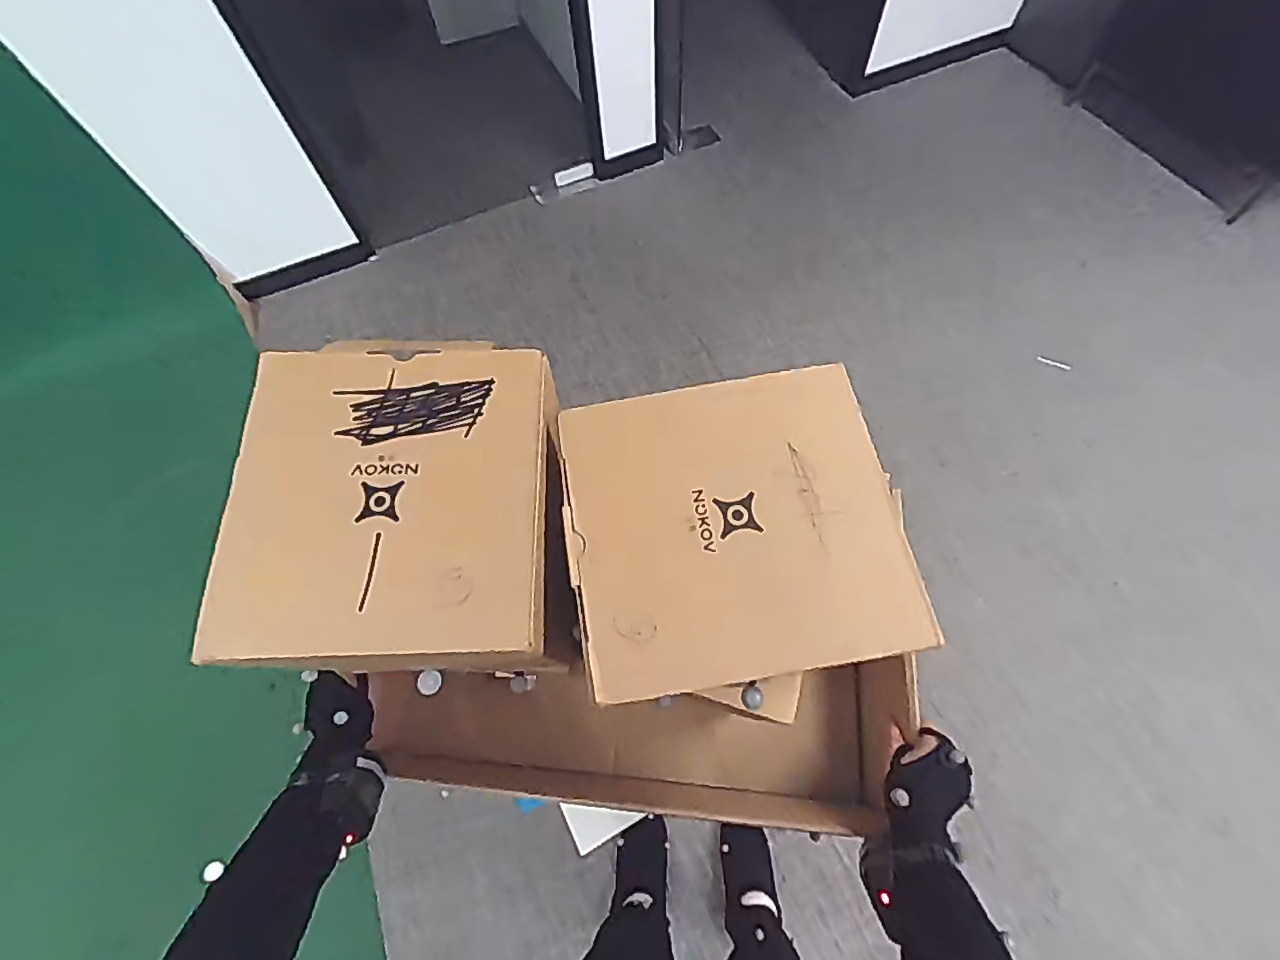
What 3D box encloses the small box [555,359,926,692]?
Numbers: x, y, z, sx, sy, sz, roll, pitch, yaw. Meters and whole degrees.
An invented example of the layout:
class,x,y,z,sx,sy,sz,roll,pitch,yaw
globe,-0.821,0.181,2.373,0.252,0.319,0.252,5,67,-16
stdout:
class,x,y,z,sx,sy,sz,roll,pitch,yaw
small box,0.050,0.045,0.369,0.179,0.176,0.168,-9,68,0
